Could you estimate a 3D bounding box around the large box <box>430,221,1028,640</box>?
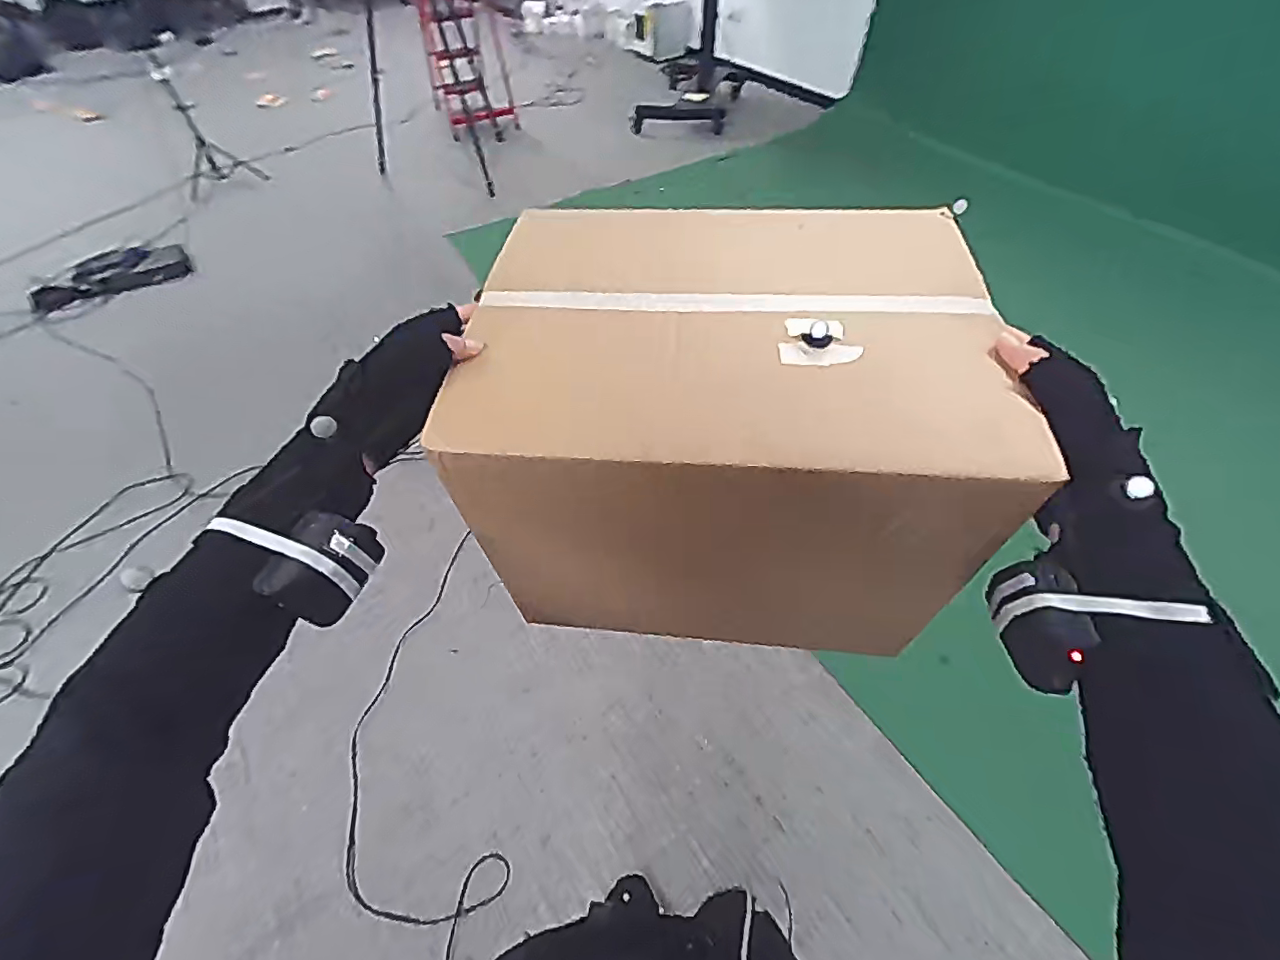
[{"bbox_3d":[0.067,-0.044,0.562,0.408,0.320,0.320,3,55,5],"label":"large box"}]
